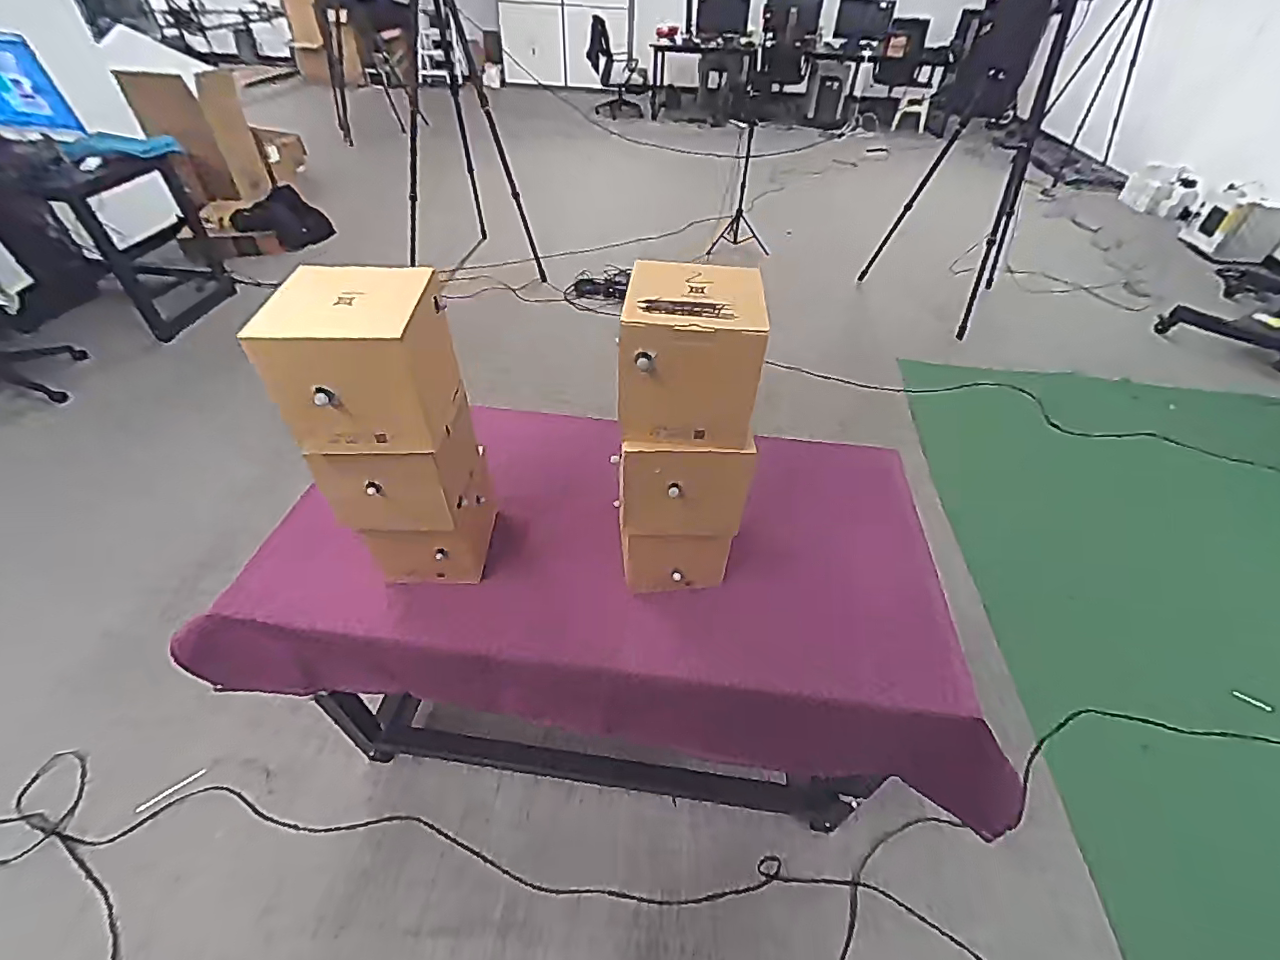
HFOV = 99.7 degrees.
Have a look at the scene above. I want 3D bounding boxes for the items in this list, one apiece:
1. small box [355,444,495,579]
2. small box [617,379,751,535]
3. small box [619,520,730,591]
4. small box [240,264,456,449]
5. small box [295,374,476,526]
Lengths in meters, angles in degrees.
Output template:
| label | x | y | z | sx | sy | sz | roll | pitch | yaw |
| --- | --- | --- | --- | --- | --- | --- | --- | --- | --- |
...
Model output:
| label | x | y | z | sx | sy | sz | roll | pitch | yaw |
| --- | --- | --- | --- | --- | --- | --- | --- | --- | --- |
| small box | -0.356 | 0.053 | 0.931 | 0.168 | 0.176 | 0.179 | 3 | 44 | -1 |
| small box | 0.056 | -0.033 | 0.802 | 0.179 | 0.176 | 0.168 | 1 | 45 | -1 |
| small box | 0.049 | 0.071 | 0.931 | 0.168 | 0.176 | 0.179 | -2 | 44 | -5 |
| small box | -0.340 | -0.152 | 0.676 | 0.168 | 0.176 | 0.179 | 0 | 44 | -4 |
| small box | -0.355 | -0.045 | 0.799 | 0.179 | 0.176 | 0.168 | 2 | 45 | -1 |
